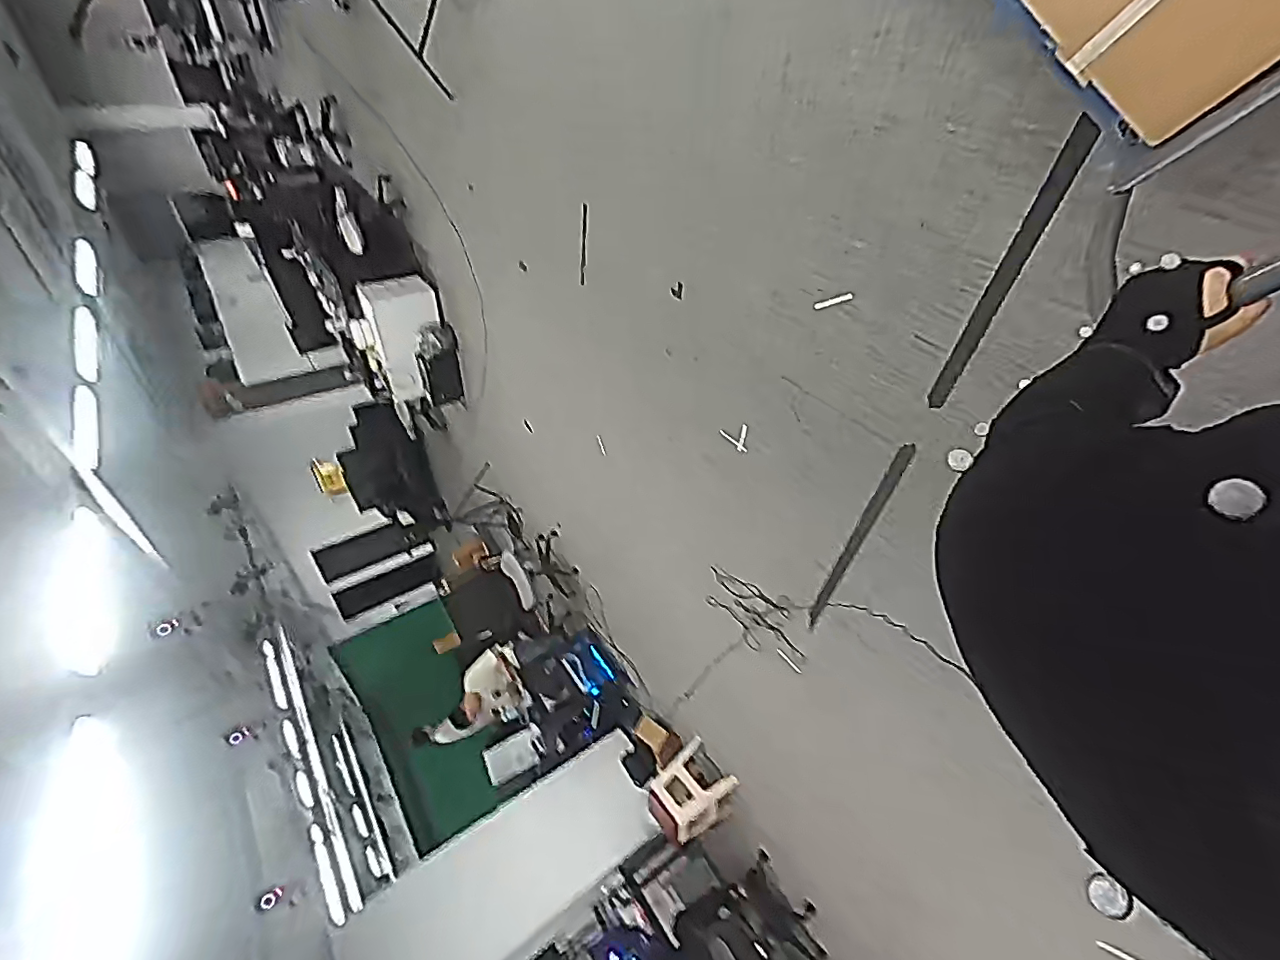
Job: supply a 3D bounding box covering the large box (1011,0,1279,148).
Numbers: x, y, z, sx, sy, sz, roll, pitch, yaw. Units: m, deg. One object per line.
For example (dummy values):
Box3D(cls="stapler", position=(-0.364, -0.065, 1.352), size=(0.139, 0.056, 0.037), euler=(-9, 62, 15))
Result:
Box3D(cls="large box", position=(0.739, -0.701, 0.619), size=(0.320, 0.320, 0.408), euler=(45, 149, -2))
